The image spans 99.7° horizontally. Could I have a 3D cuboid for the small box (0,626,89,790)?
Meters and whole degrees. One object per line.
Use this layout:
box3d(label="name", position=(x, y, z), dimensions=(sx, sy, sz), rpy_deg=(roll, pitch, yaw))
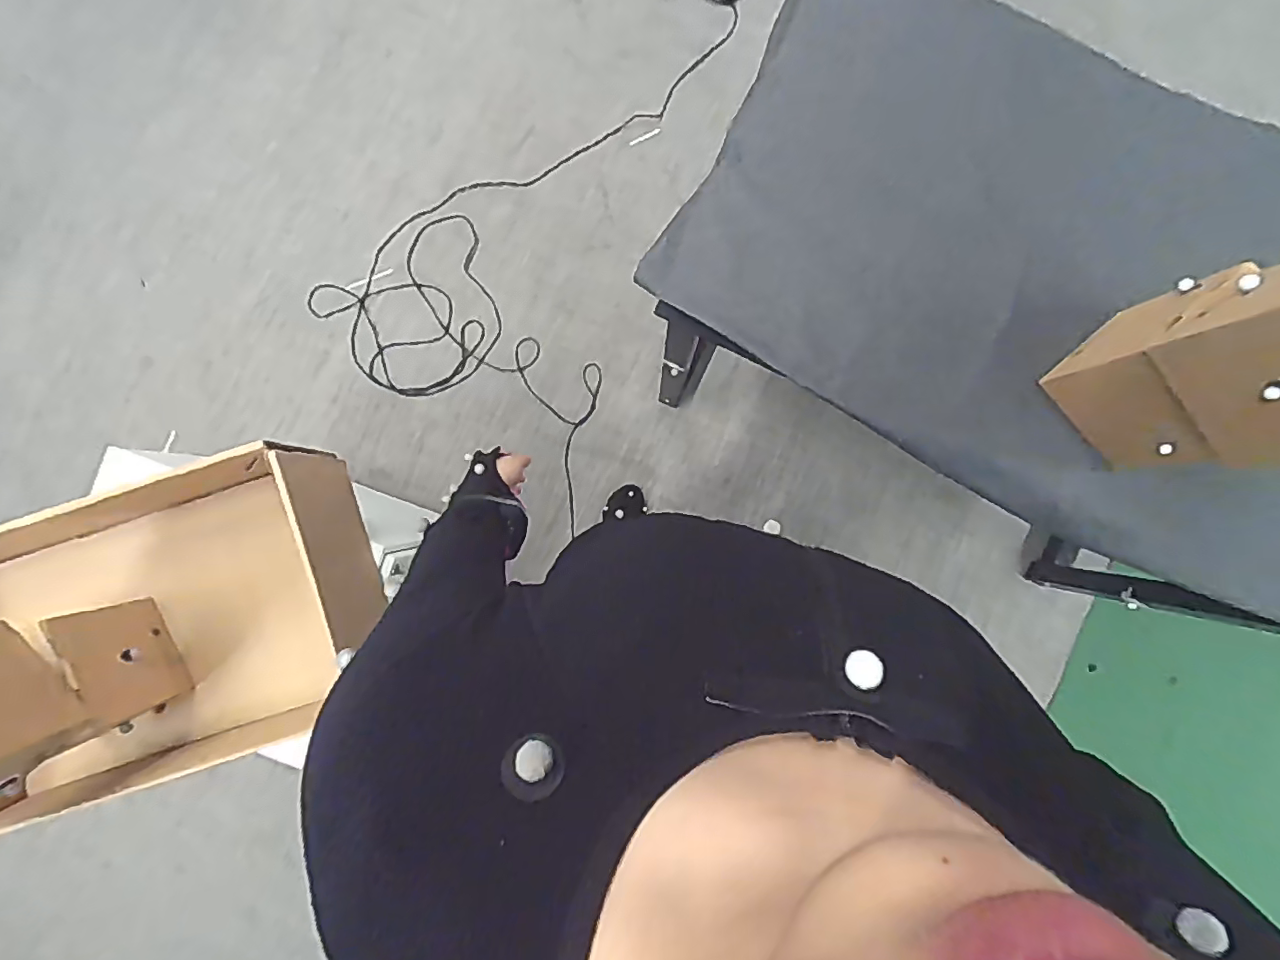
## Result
box3d(label="small box", position=(-0.823, 0.288, 0.619), dimensions=(0.168, 0.176, 0.179), rpy_deg=(-43, 91, -1))

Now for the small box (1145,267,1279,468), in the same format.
box3d(label="small box", position=(0.676, -0.123, 0.528), dimensions=(0.168, 0.176, 0.179), rpy_deg=(-33, 87, -2))
